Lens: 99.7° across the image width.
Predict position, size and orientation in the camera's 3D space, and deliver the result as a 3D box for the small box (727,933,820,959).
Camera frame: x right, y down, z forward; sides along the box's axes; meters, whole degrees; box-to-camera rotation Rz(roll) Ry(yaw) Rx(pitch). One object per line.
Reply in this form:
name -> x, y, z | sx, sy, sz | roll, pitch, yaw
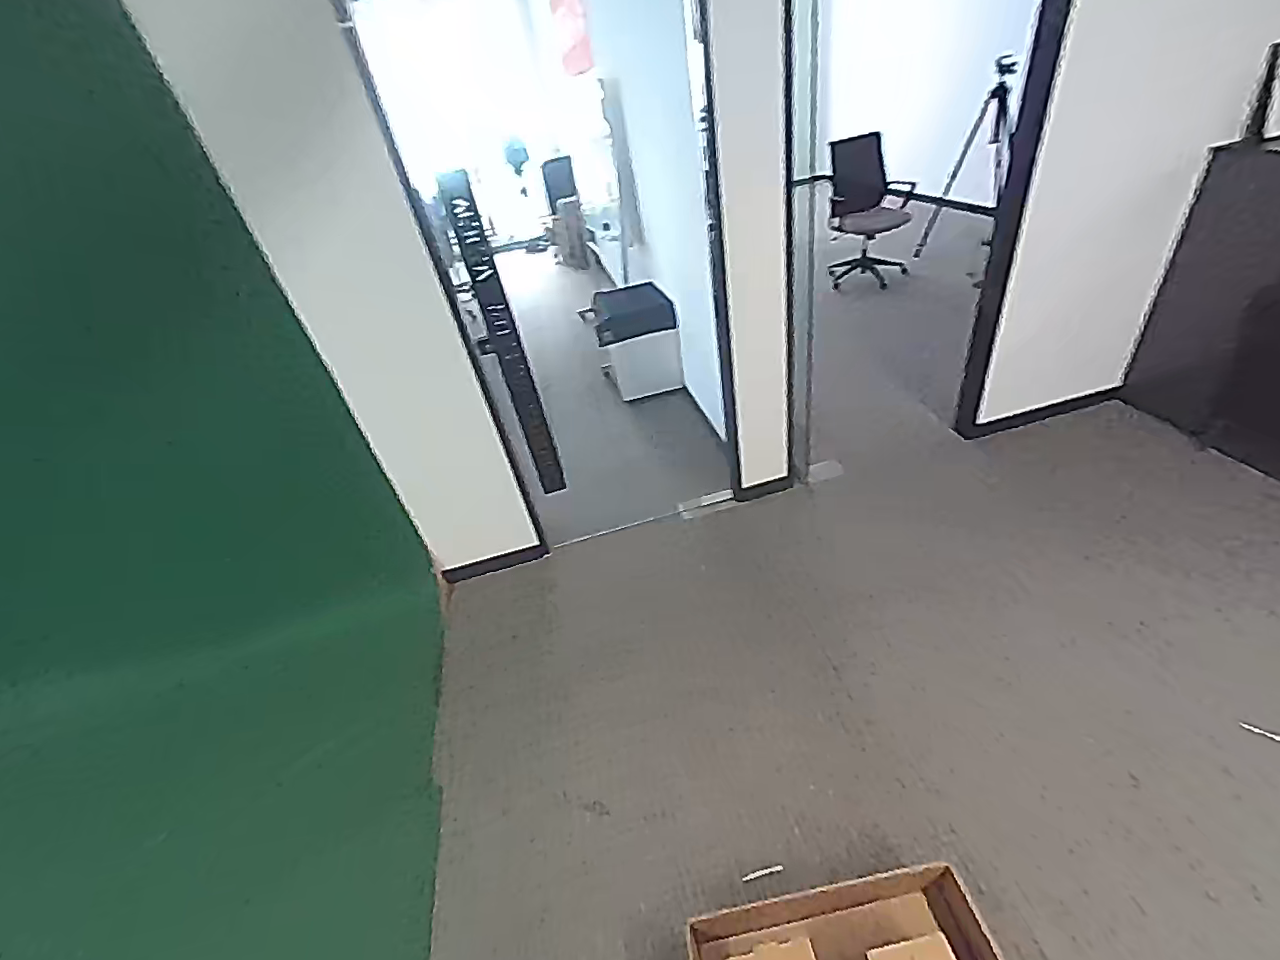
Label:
small box -> 0.263, 0.963, 0.965 | 0.168, 0.176, 0.179 | -14, 34, -2
